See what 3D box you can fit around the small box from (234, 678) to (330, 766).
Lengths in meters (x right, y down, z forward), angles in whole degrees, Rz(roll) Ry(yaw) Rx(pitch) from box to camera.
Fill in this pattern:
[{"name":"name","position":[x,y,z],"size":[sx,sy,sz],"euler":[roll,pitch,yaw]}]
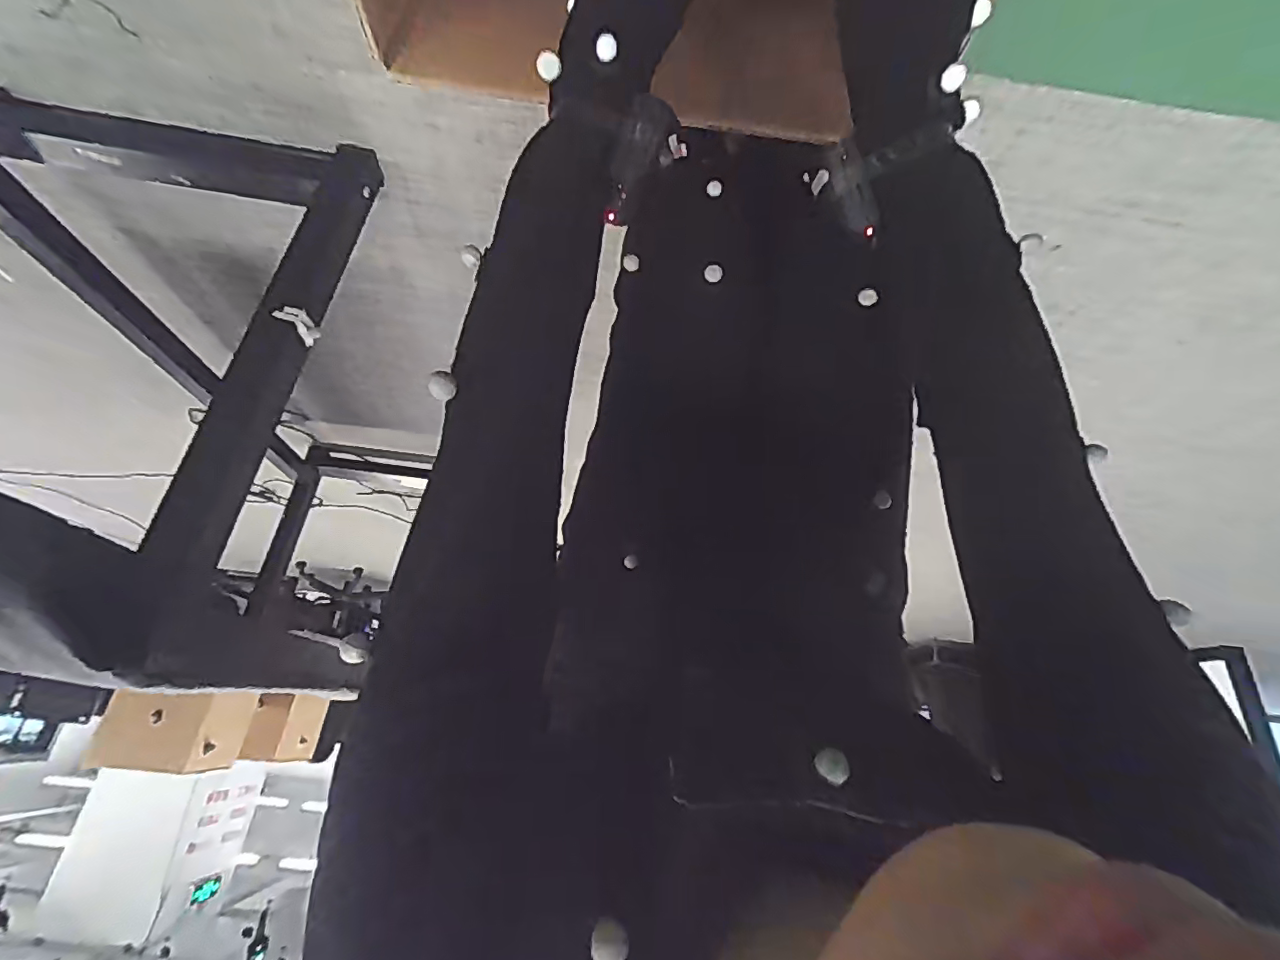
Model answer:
[{"name":"small box","position":[-0.887,0.580,1.302],"size":[0.168,0.176,0.179],"euler":[6,155,0]}]

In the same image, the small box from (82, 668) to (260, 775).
[{"name":"small box","position":[-0.883,0.461,1.041],"size":[0.168,0.176,0.179],"euler":[9,155,-5]}]
